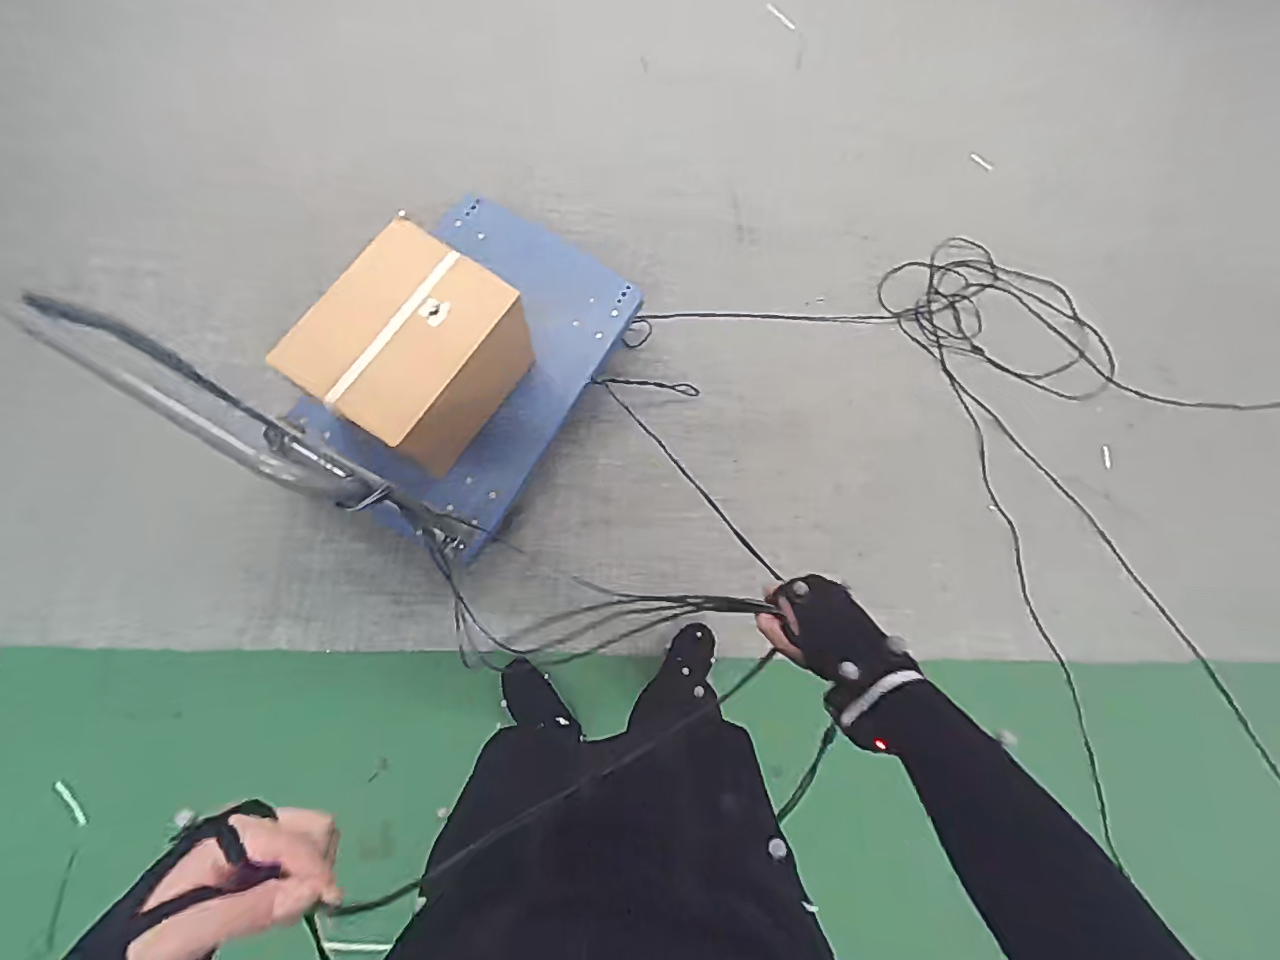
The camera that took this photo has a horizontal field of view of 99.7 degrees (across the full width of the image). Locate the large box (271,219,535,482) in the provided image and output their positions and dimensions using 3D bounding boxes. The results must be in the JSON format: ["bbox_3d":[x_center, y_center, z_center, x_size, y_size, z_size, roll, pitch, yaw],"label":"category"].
[{"bbox_3d":[-0.483,-0.265,1.202,0.320,0.320,0.408,33,76,2],"label":"large box"}]
